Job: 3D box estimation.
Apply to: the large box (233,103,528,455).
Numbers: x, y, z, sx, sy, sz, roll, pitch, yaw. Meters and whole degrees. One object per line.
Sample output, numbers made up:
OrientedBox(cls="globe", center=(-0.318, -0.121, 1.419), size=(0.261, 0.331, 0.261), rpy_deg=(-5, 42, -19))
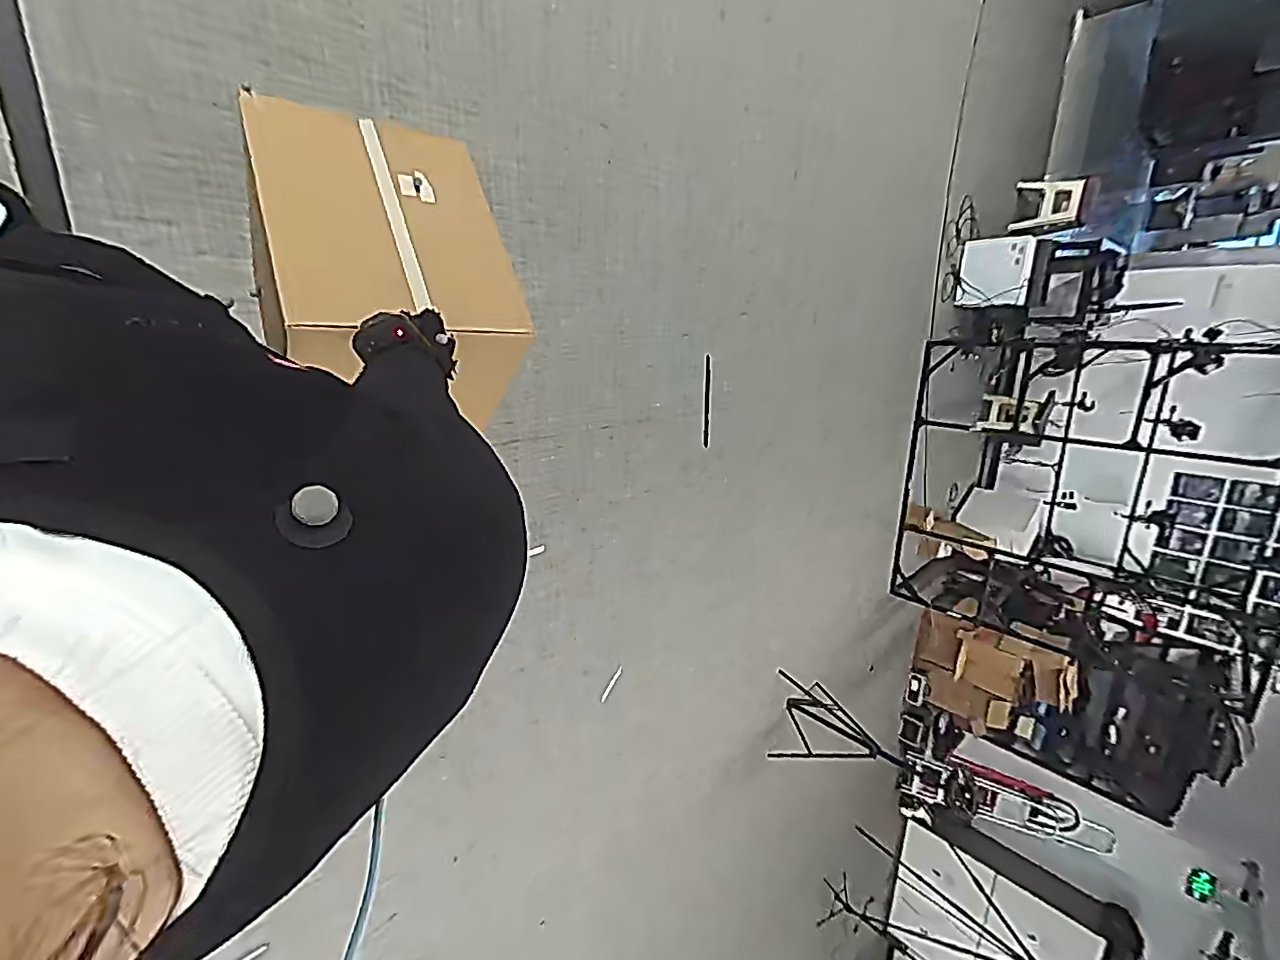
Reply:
OrientedBox(cls="large box", center=(-0.433, -0.298, 0.883), size=(0.320, 0.320, 0.408), rpy_deg=(-9, 67, -38))
